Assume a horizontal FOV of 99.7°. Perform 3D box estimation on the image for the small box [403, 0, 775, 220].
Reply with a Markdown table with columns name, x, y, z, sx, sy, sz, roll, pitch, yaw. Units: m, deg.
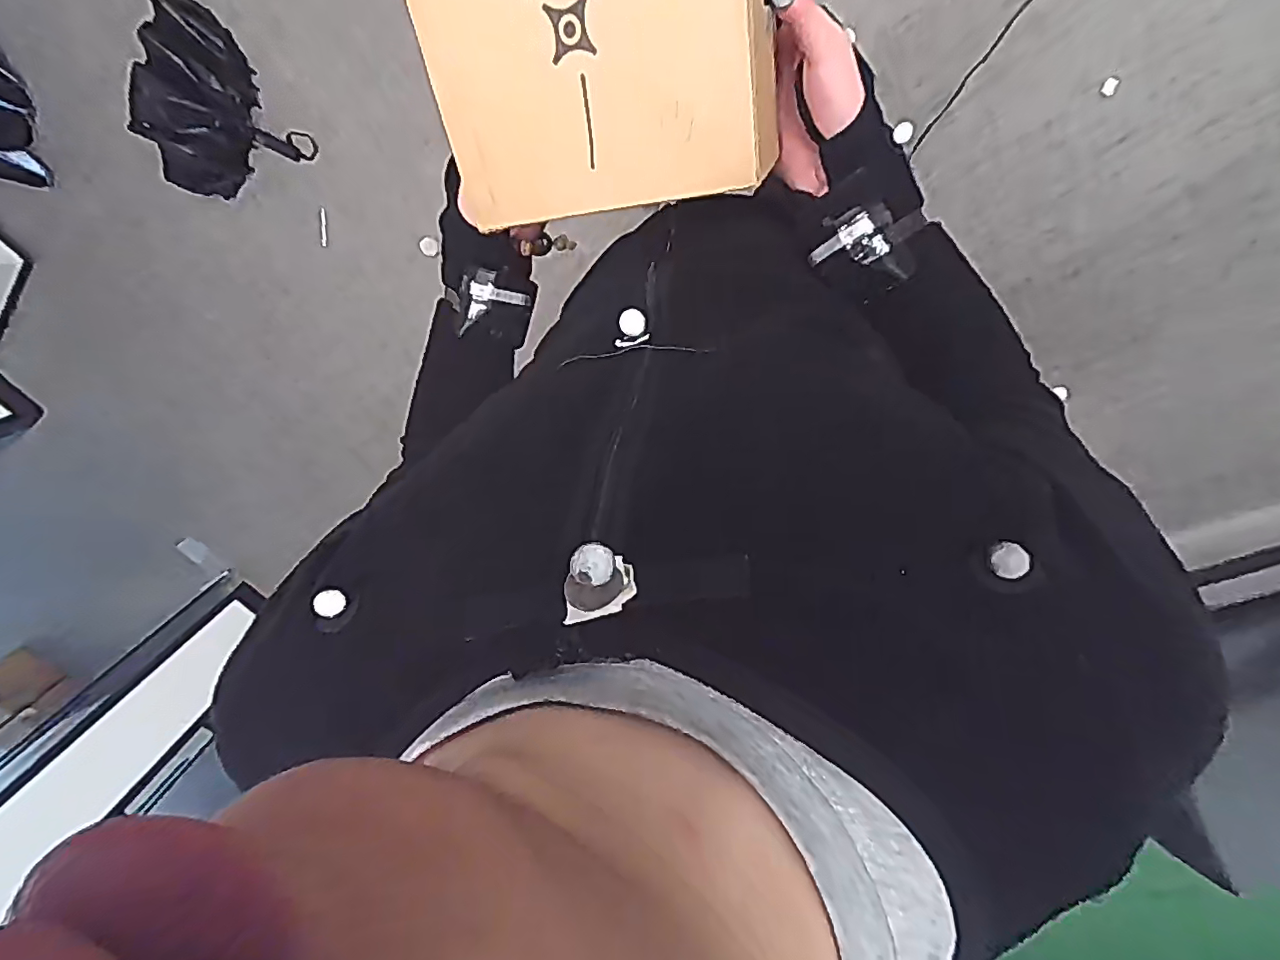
| name | x | y | z | sx | sy | sz | roll | pitch | yaw |
| --- | --- | --- | --- | --- | --- | --- | --- | --- | --- |
| small box | -0.014 | -0.266 | 0.308 | 0.168 | 0.176 | 0.179 | 1 | 125 | 18 |
